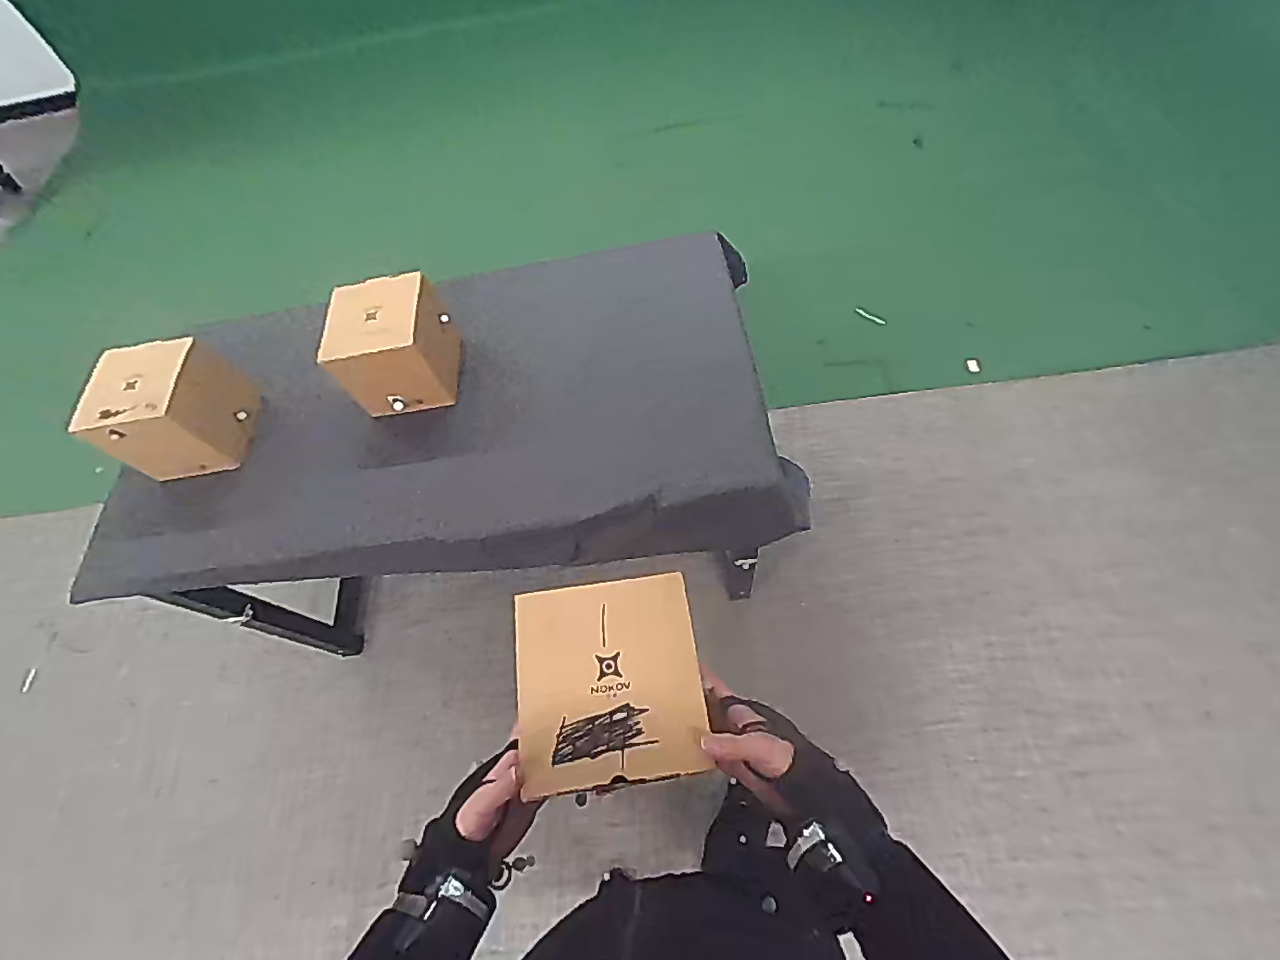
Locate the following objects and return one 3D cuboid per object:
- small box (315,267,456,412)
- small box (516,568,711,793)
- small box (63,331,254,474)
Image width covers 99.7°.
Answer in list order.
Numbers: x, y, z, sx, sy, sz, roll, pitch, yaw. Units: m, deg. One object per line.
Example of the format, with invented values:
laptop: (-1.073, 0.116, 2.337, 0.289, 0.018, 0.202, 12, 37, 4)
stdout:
small box: (-0.445, -0.248, 0.977, 0.168, 0.176, 0.179, -10, 63, 4)
small box: (-0.027, 0.207, 0.555, 0.168, 0.176, 0.179, -7, 62, -2)
small box: (-0.837, -0.134, 0.964, 0.168, 0.176, 0.179, -9, 61, 3)
